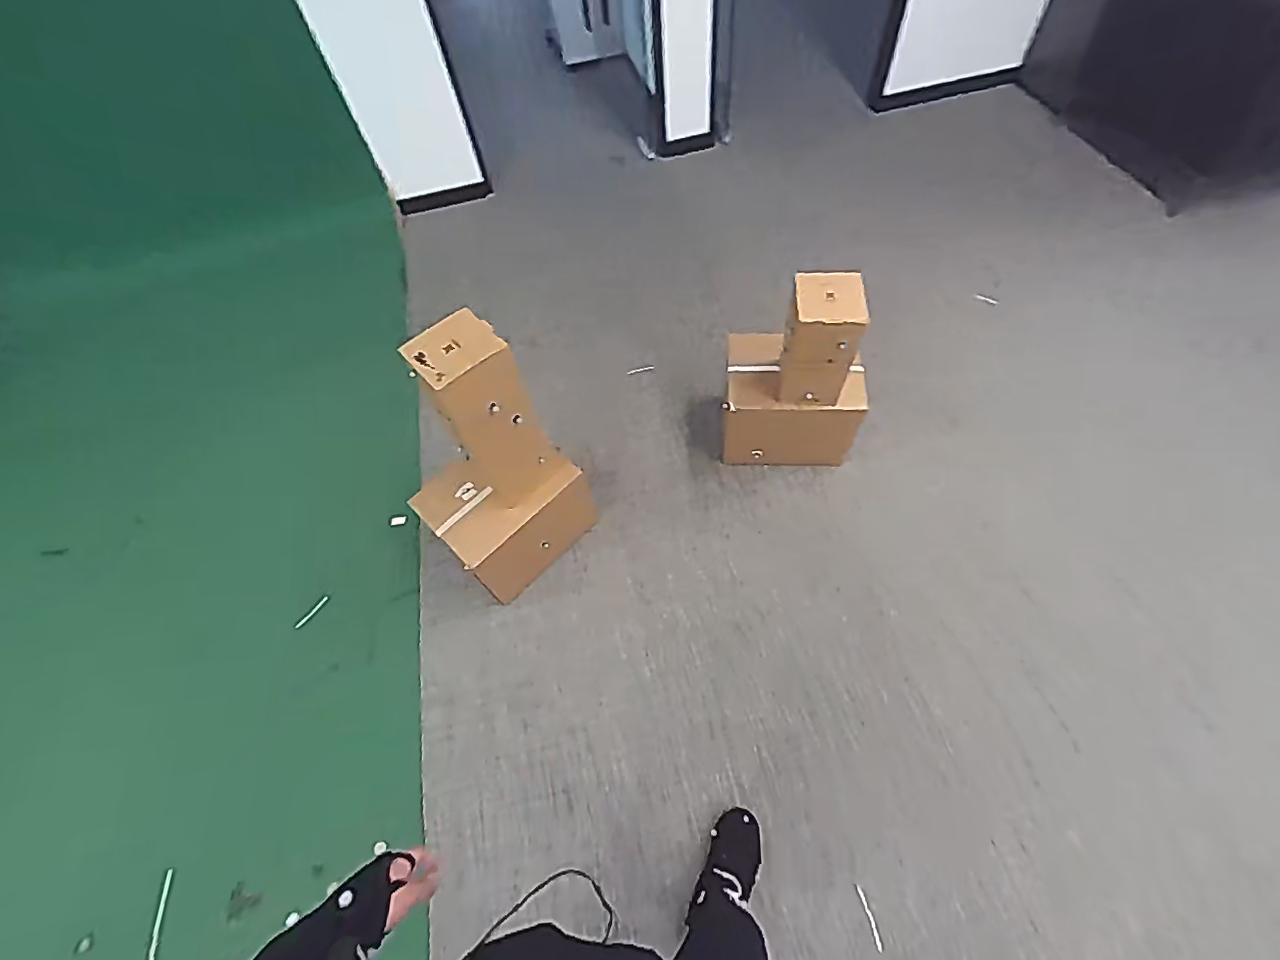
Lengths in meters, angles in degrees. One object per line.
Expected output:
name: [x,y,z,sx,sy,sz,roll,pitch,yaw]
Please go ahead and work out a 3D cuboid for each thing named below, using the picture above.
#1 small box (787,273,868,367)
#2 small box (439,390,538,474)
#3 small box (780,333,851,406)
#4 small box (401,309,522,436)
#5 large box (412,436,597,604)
small box: [0.479,-0.411,1.404,0.168,0.176,0.179,2,60,6]
small box: [-0.367,-0.149,1.323,0.179,0.176,0.168,-39,63,-17]
small box: [0.495,-0.335,1.548,0.168,0.176,0.179,4,61,8]
small box: [-0.377,-0.232,1.181,0.179,0.176,0.168,-38,63,-18]
large box: [-0.392,0.099,1.656,0.320,0.320,0.408,37,70,25]
